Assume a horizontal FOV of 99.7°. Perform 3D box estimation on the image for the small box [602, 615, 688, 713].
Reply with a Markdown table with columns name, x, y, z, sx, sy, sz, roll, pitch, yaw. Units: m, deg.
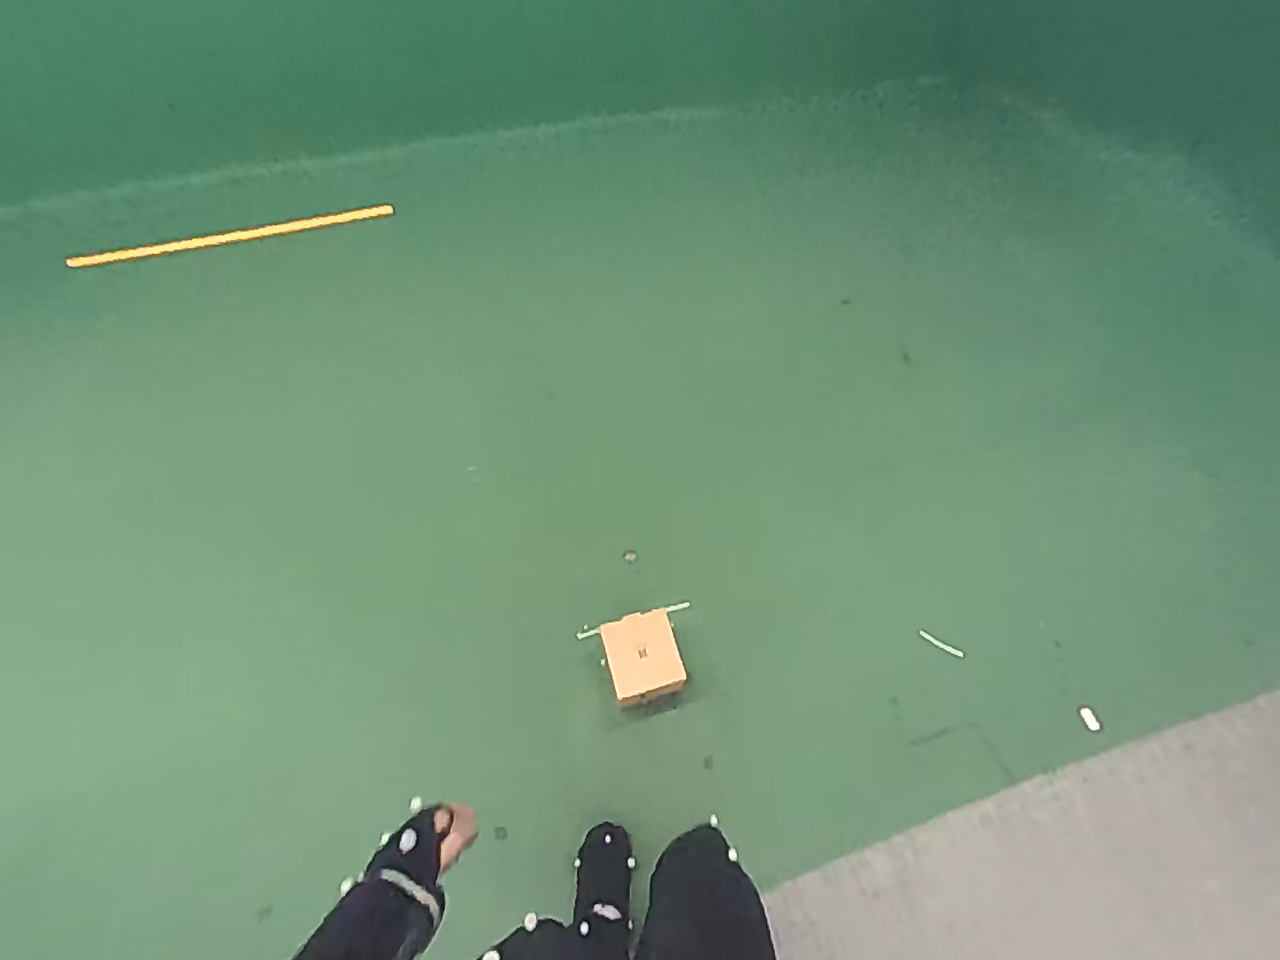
| name | x | y | z | sx | sy | sz | roll | pitch | yaw |
| --- | --- | --- | --- | --- | --- | --- | --- | --- | --- |
| small box | 0.012 | 0.460 | 1.329 | 0.168 | 0.176 | 0.179 | -15 | 59 | -8 |
